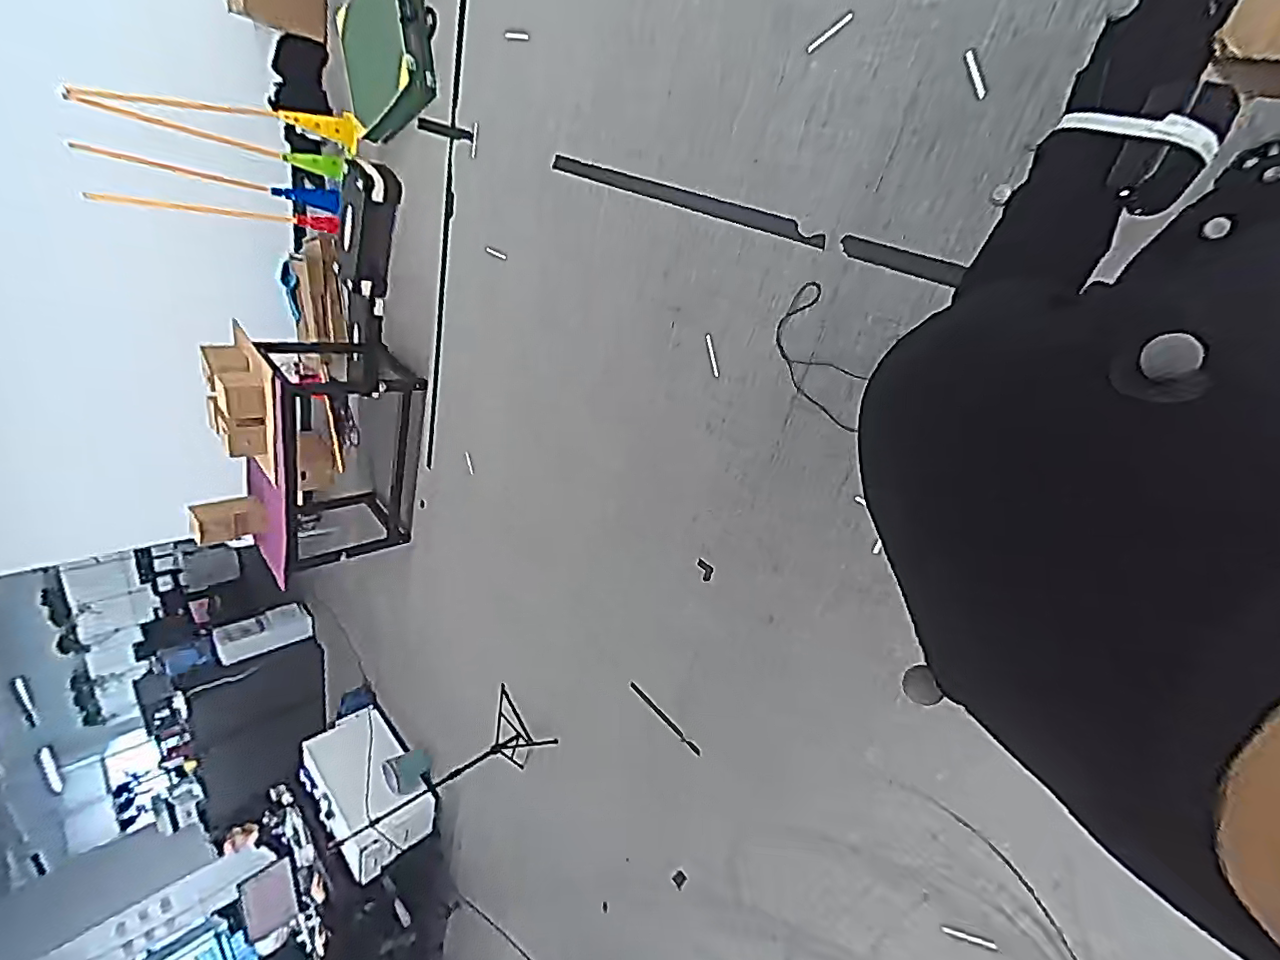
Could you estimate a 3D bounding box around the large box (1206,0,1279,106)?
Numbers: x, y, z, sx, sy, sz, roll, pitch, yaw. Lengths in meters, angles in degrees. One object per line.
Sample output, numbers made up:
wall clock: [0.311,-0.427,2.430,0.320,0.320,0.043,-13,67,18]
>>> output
large box: [0.627,-0.369,0.261,0.408,0.320,0.320,32,133,33]
